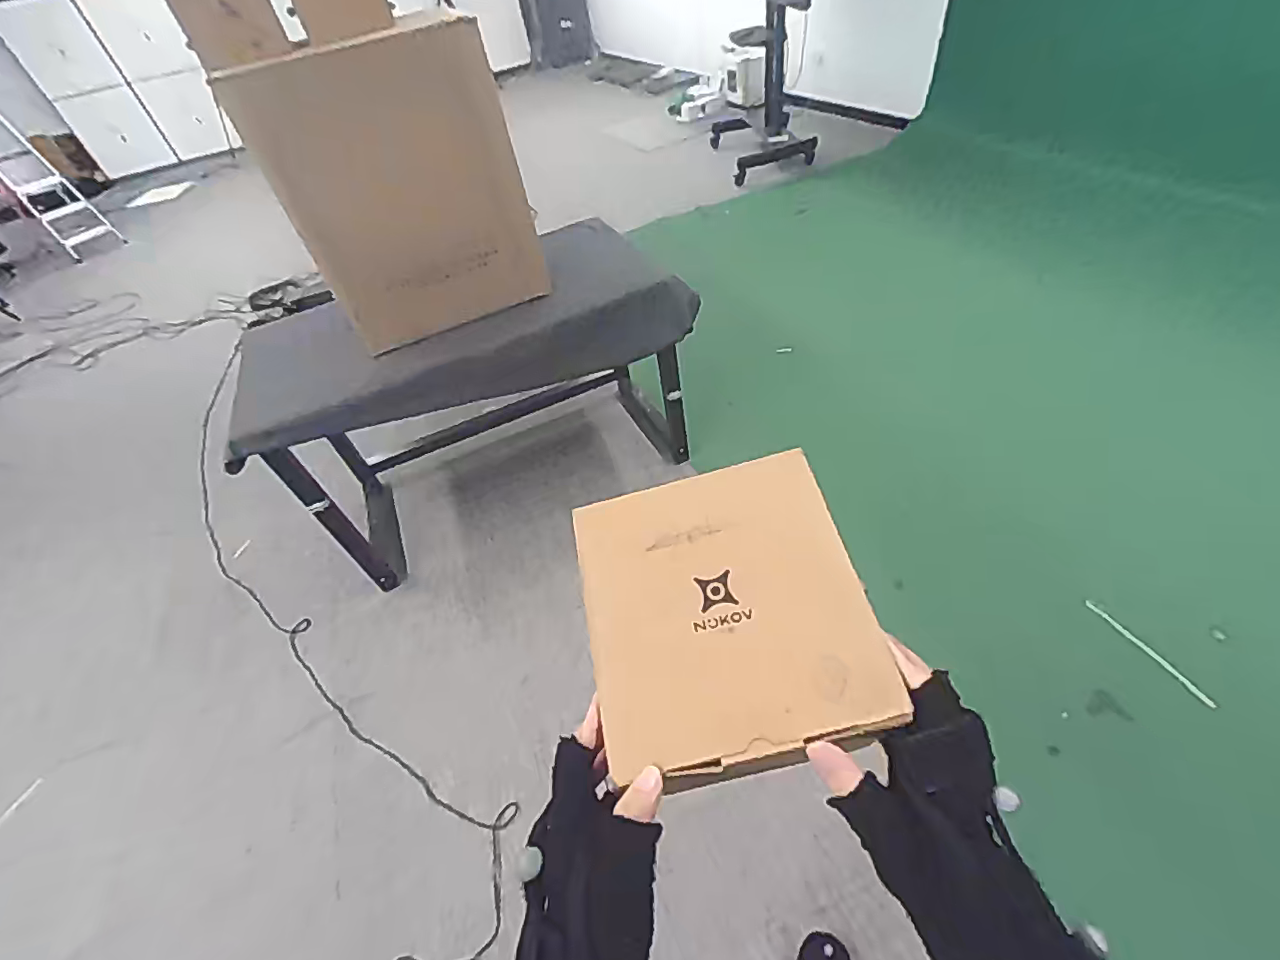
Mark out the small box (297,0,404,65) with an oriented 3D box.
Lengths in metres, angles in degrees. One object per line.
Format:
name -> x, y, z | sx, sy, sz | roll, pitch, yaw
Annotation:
small box -> -0.604, -0.984, 1.109 | 0.179, 0.176, 0.168 | -24, 48, -11

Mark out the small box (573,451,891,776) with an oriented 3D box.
small box -> 0.060, 0.111, 0.406 | 0.168, 0.176, 0.179 | -15, 56, 3

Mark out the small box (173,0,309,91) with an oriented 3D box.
small box -> -0.789, -0.899, 1.072 | 0.168, 0.176, 0.179 | -30, 49, -14
